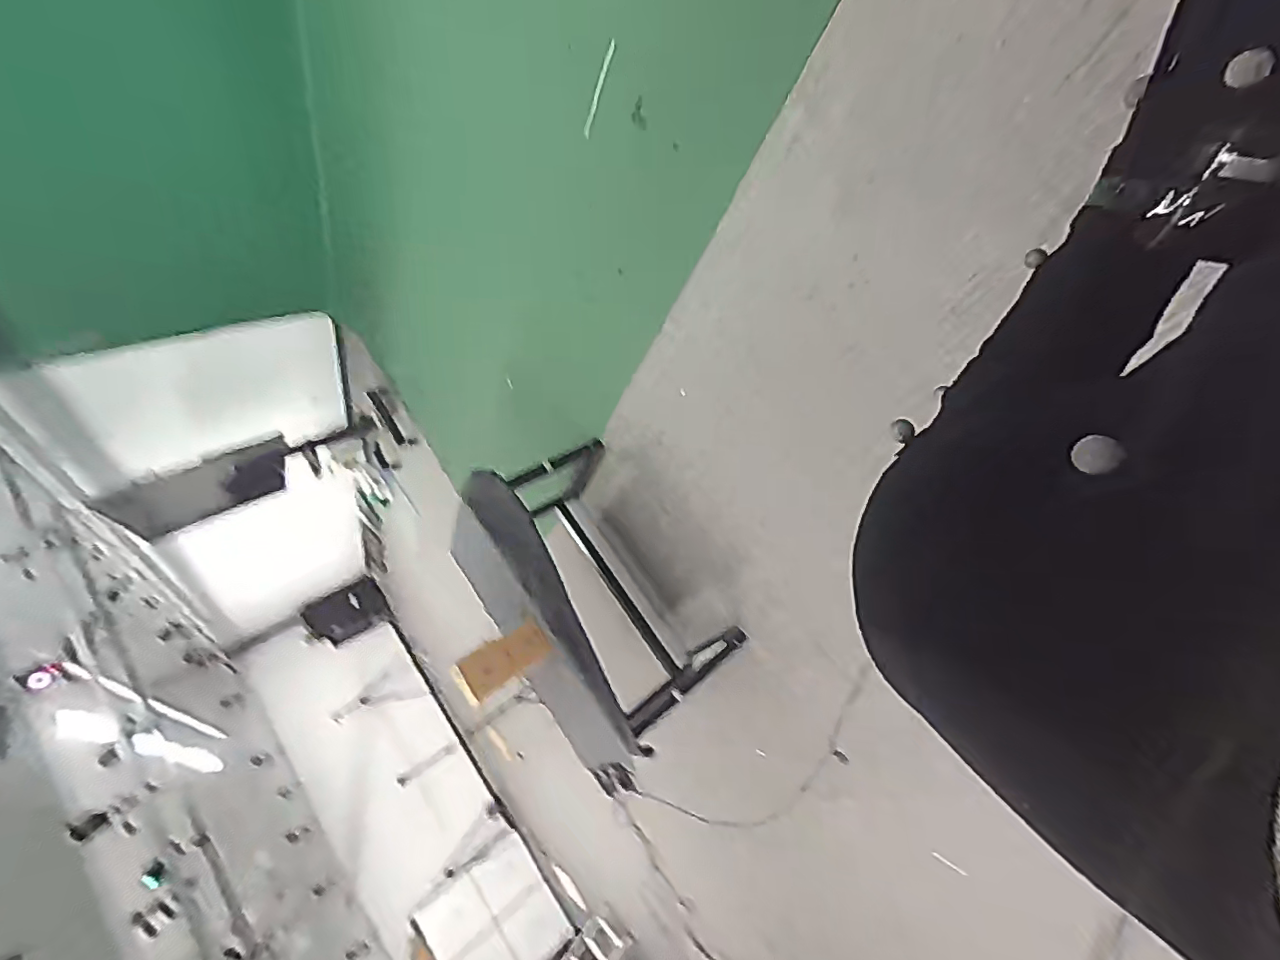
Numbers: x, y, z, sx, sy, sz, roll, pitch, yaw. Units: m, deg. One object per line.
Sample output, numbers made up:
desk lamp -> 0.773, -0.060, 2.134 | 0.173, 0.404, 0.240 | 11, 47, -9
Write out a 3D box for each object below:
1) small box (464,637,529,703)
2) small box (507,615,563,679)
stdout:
small box -> -0.557, 0.731, 2.098 | 0.179, 0.176, 0.168 | 53, 146, 12
small box -> -0.432, 0.673, 2.189 | 0.168, 0.176, 0.179 | 54, 146, 12
